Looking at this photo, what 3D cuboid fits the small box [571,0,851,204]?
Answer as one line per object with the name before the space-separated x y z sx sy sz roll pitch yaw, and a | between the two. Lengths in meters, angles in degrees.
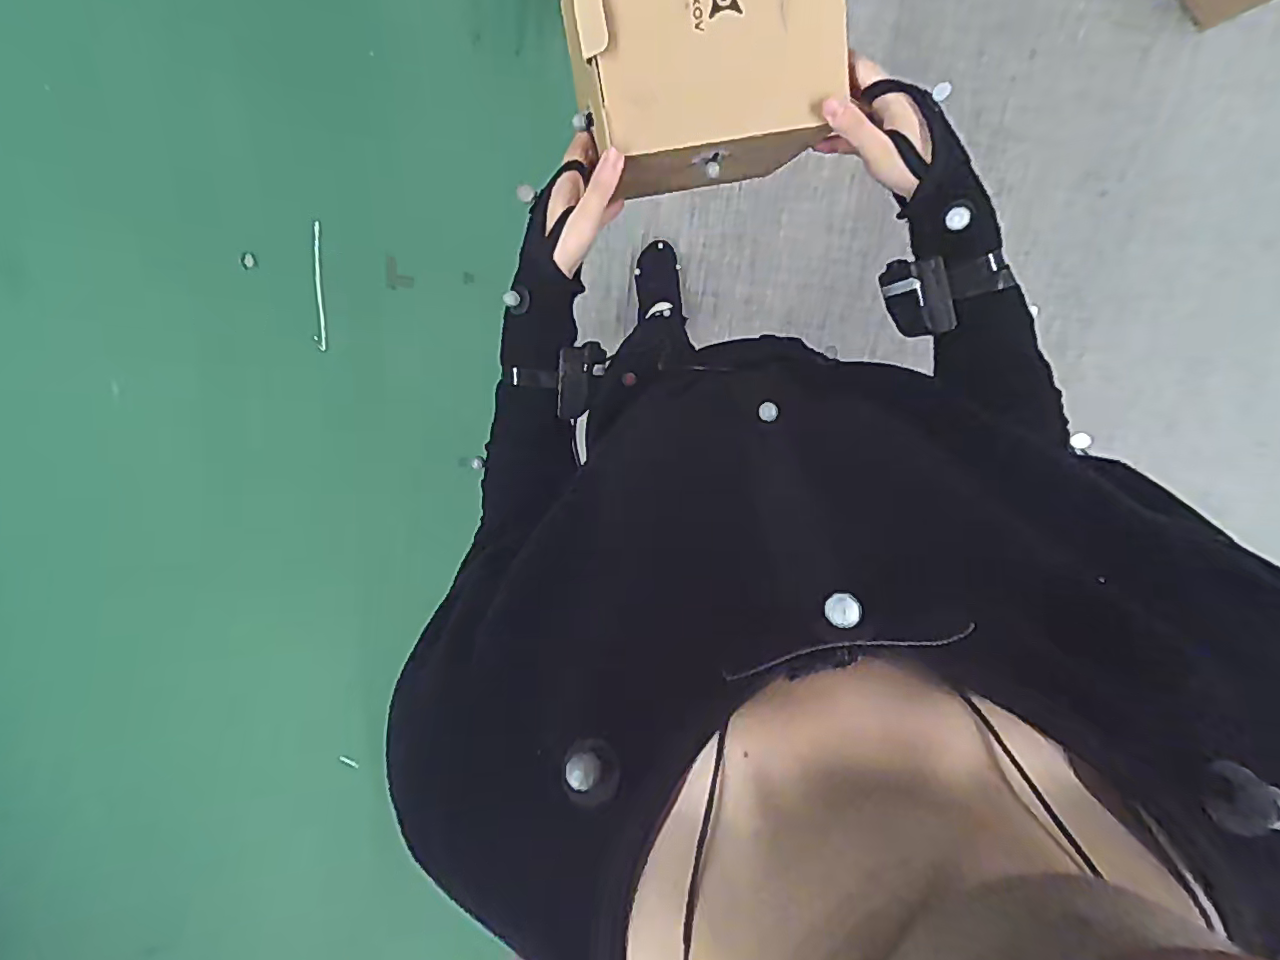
small box | 0.042 -0.333 0.428 0.179 0.176 0.168 -11 107 -4
